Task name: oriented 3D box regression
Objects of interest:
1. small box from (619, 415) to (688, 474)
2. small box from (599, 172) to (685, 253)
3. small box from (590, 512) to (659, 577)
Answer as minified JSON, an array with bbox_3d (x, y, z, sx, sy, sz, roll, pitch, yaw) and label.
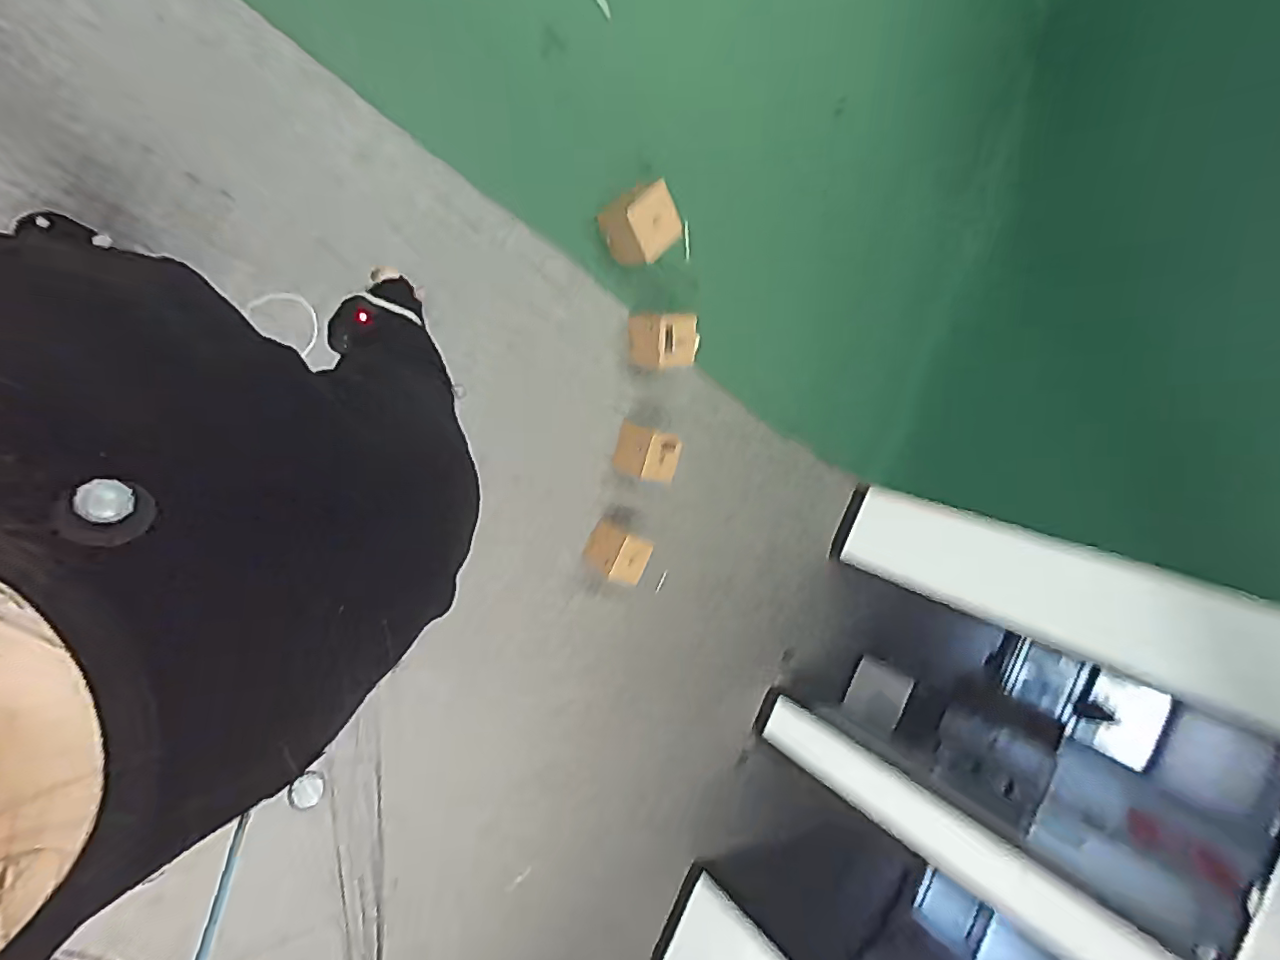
[{"bbox_3d":[0.045,-0.135,2.005,0.168,0.176,0.179,8,102,-44],"label":"small box"},{"bbox_3d":[0.003,-0.834,1.692,0.179,0.176,0.168,-48,132,-17],"label":"small box"},{"bbox_3d":[-0.064,0.245,2.057,0.168,0.176,0.179,25,89,-46],"label":"small box"}]
